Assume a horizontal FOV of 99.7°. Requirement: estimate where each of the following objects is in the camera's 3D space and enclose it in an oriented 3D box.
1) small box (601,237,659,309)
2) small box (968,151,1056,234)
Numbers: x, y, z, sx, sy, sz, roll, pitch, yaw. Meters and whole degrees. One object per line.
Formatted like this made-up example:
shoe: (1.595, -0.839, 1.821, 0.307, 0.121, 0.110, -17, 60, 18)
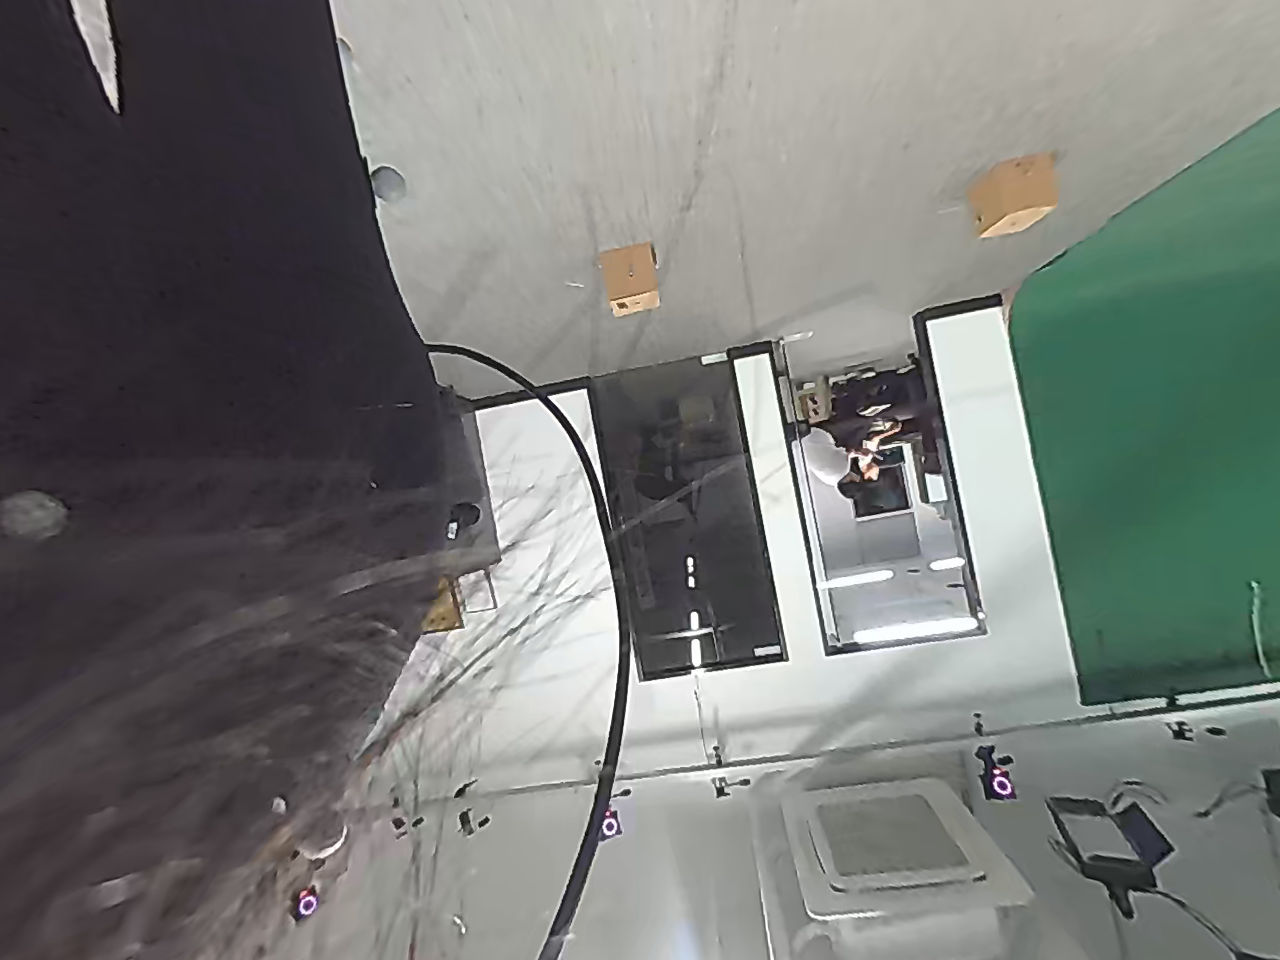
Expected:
small box: (-0.036, -0.727, 1.903, 0.179, 0.176, 0.168, -10, 179, 4)
small box: (1.211, -0.939, 1.774, 0.168, 0.176, 0.179, -10, 179, 0)
